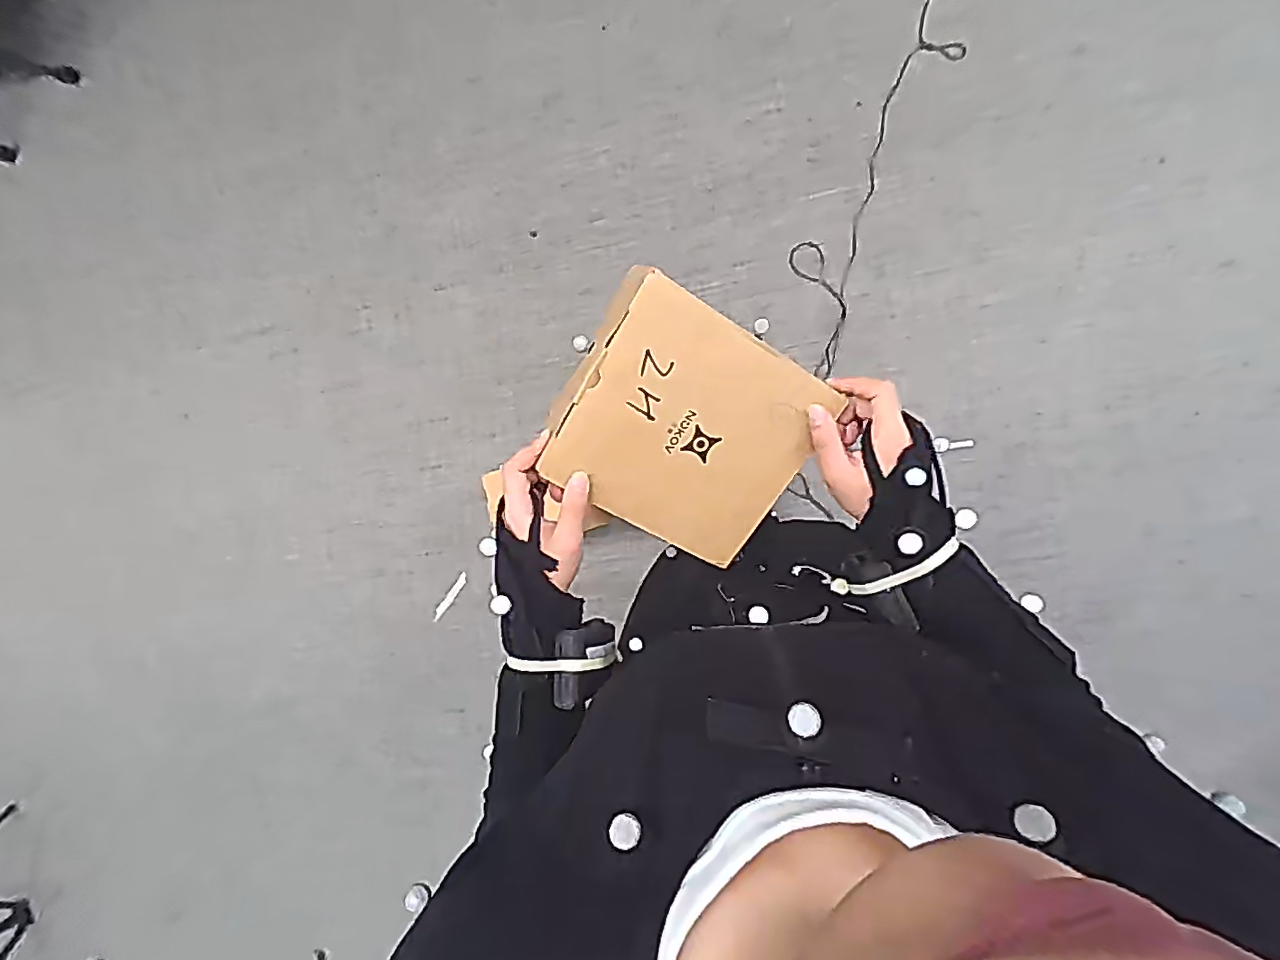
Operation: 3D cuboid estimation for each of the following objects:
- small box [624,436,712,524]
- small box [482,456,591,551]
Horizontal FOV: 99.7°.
[{"bbox_3d":[0.073,0.003,1.309,0.168,0.176,0.179,-14,86,12],"label":"small box"},{"bbox_3d":[-0.219,0.051,1.203,0.179,0.176,0.168,-17,84,11],"label":"small box"}]
